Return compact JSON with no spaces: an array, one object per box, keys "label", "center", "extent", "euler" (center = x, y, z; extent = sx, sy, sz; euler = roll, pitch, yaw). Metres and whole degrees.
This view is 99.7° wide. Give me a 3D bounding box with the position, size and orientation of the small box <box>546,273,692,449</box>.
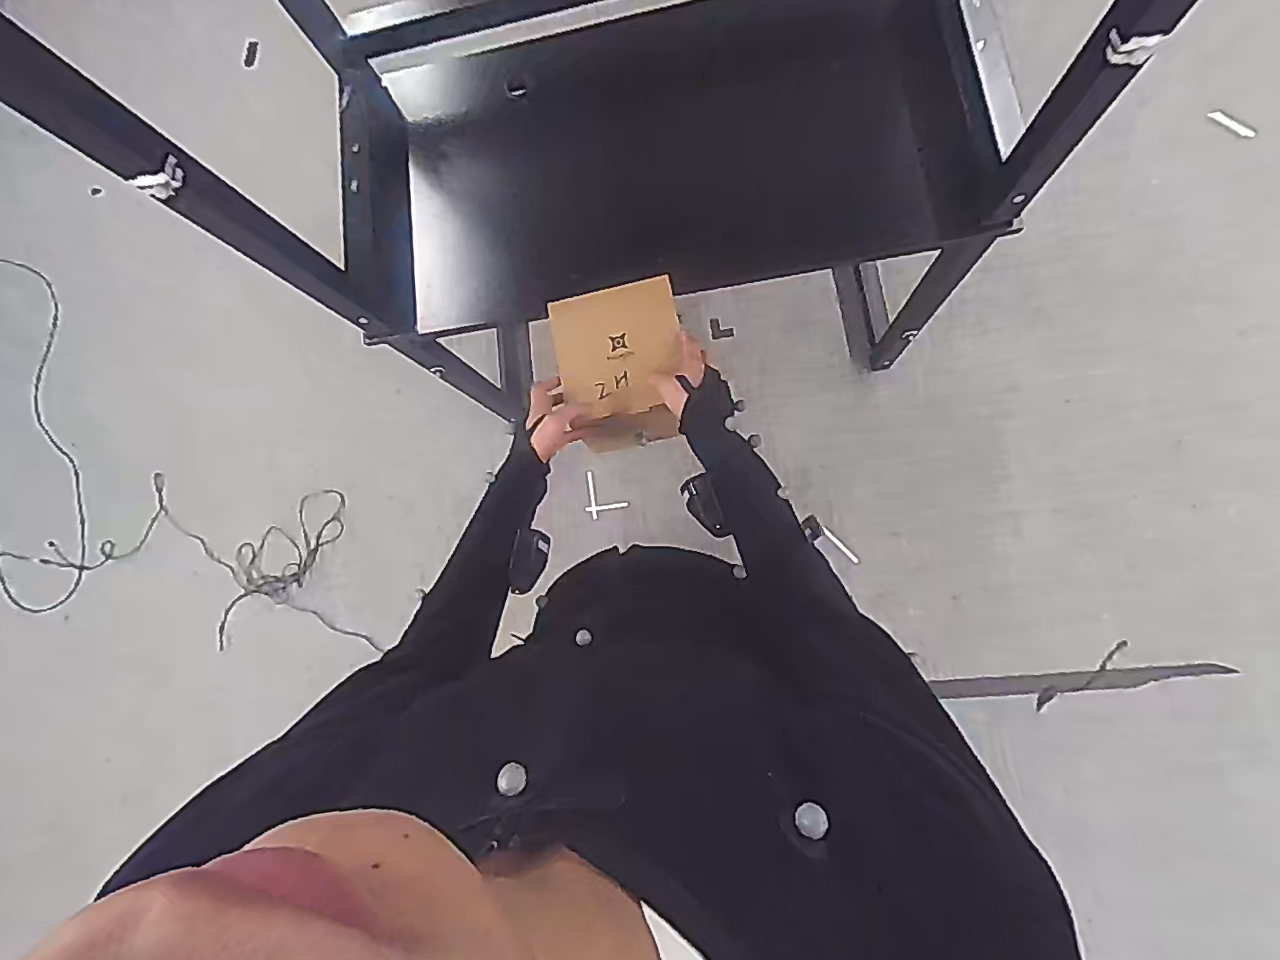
[{"label":"small box","center":[-0.023,-0.159,0.770],"extent":[0.168,0.176,0.179],"euler":[-12,80,4]}]
